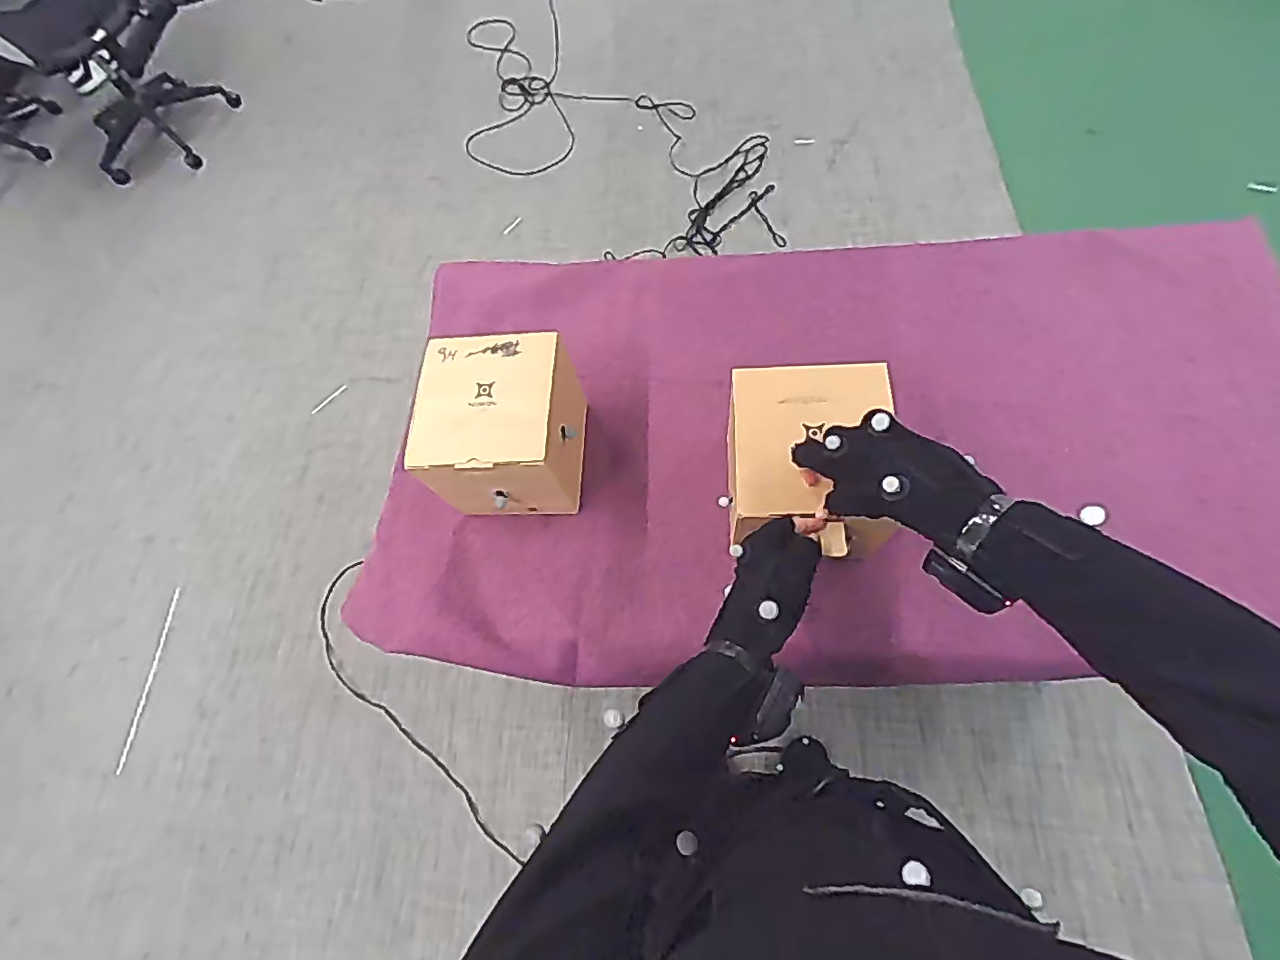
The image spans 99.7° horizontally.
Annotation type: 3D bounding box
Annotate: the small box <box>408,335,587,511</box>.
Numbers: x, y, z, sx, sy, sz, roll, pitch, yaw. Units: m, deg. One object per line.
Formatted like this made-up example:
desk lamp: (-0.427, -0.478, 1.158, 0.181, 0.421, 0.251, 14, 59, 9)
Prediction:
small box: (-0.169, -0.062, 0.699, 0.168, 0.176, 0.179, -1, 68, 7)

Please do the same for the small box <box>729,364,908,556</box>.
small box: (0.191, -0.013, 0.630, 0.168, 0.176, 0.179, -1, 67, 7)
